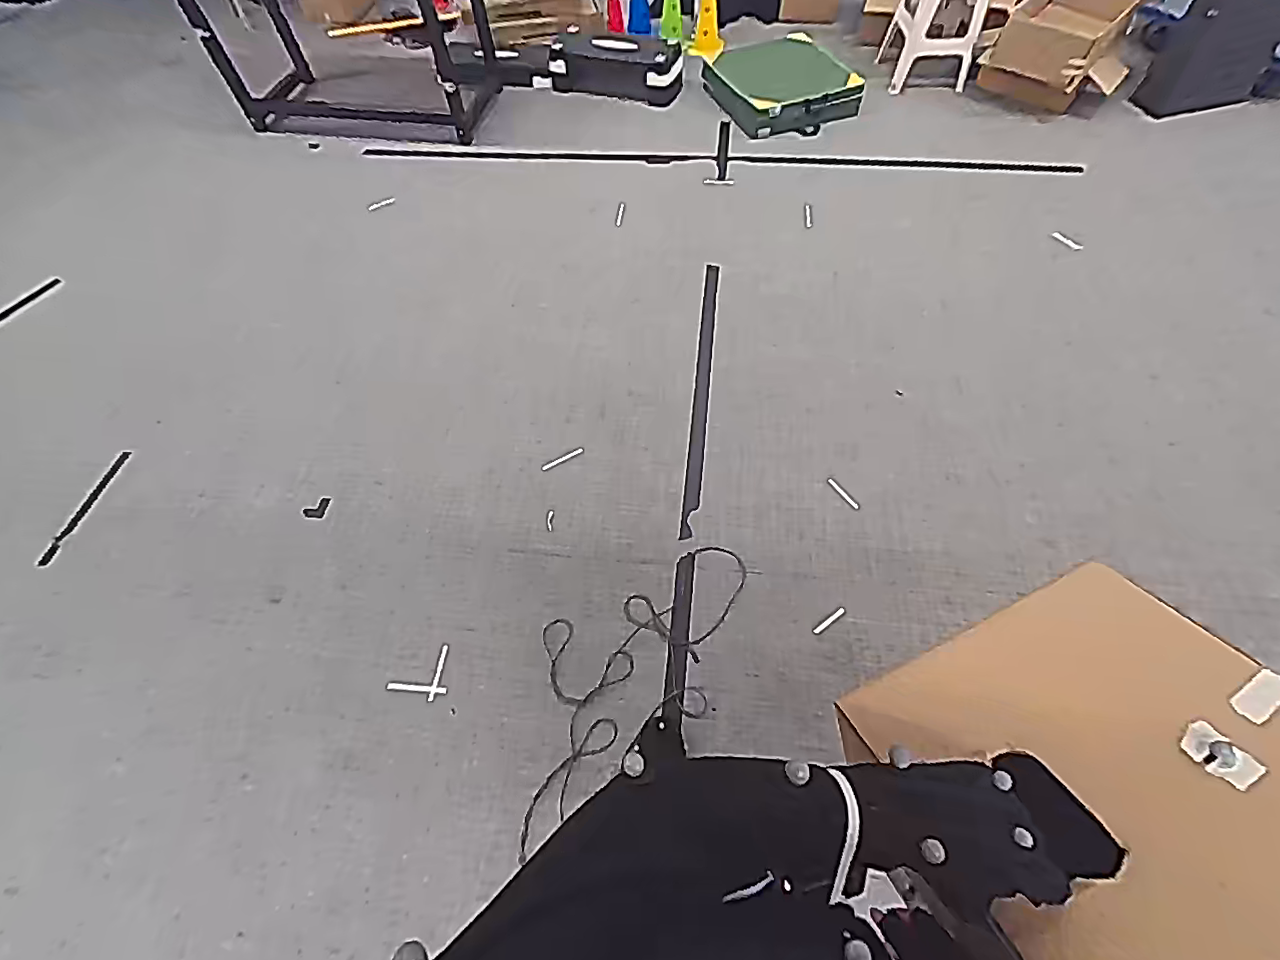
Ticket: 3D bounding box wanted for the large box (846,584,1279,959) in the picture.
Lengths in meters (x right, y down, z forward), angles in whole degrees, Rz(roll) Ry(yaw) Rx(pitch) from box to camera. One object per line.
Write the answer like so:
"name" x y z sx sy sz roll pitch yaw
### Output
"large box" 0.456 0.389 0.547 0.320 0.408 0.320 -27 37 -2
